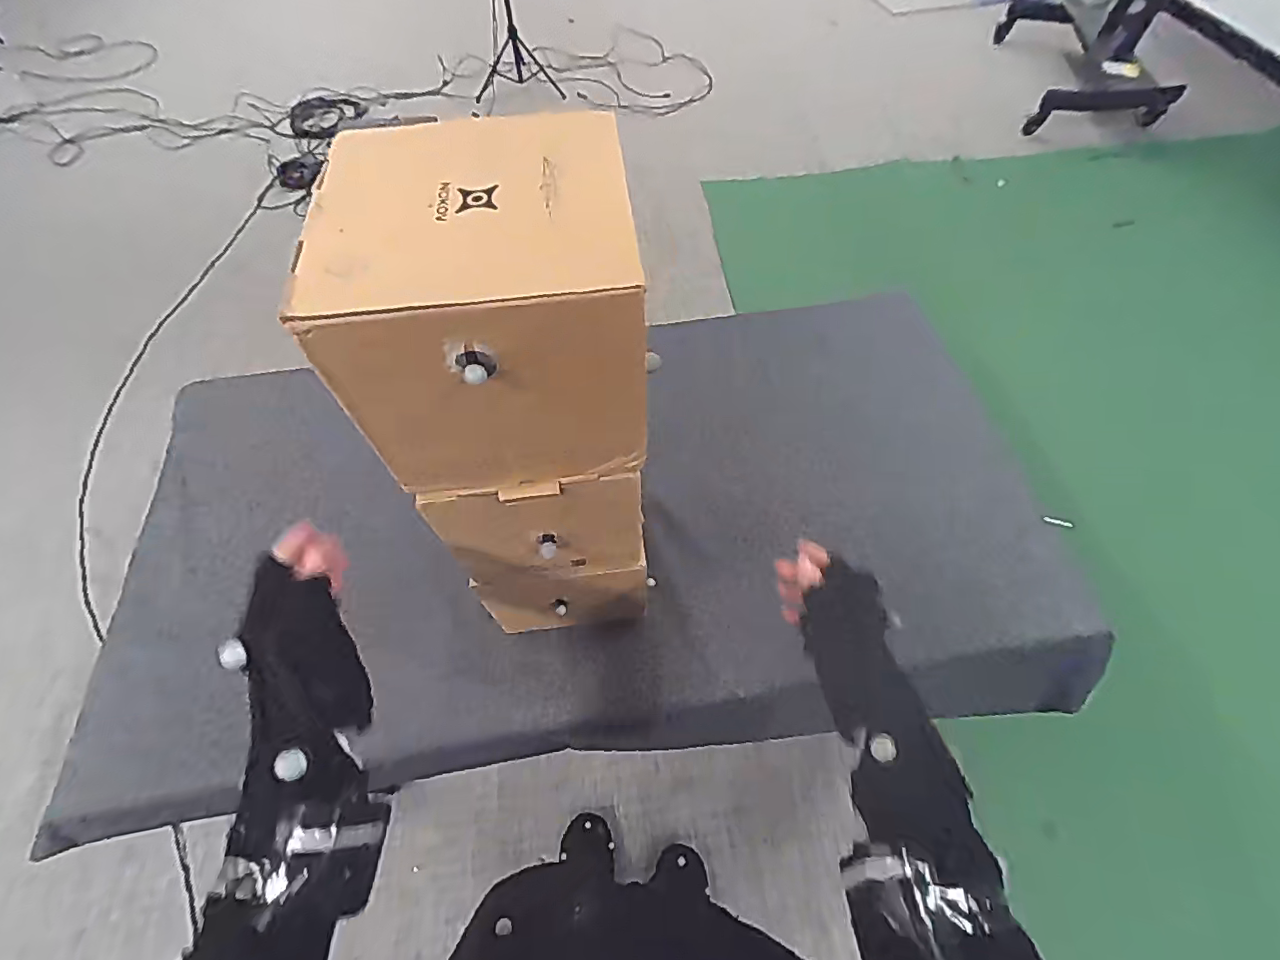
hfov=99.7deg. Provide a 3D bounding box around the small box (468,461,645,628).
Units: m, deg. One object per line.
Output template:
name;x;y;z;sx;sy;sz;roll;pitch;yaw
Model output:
small box;-0.090;0.066;0.640;0.179;0.176;0.168;-6;59;-3

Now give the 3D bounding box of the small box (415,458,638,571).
small box;-0.092;-0.024;0.504;0.168;0.176;0.179;-7;60;-4

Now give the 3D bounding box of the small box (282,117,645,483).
small box;-0.091;-0.110;0.365;0.179;0.176;0.168;-6;60;-4
